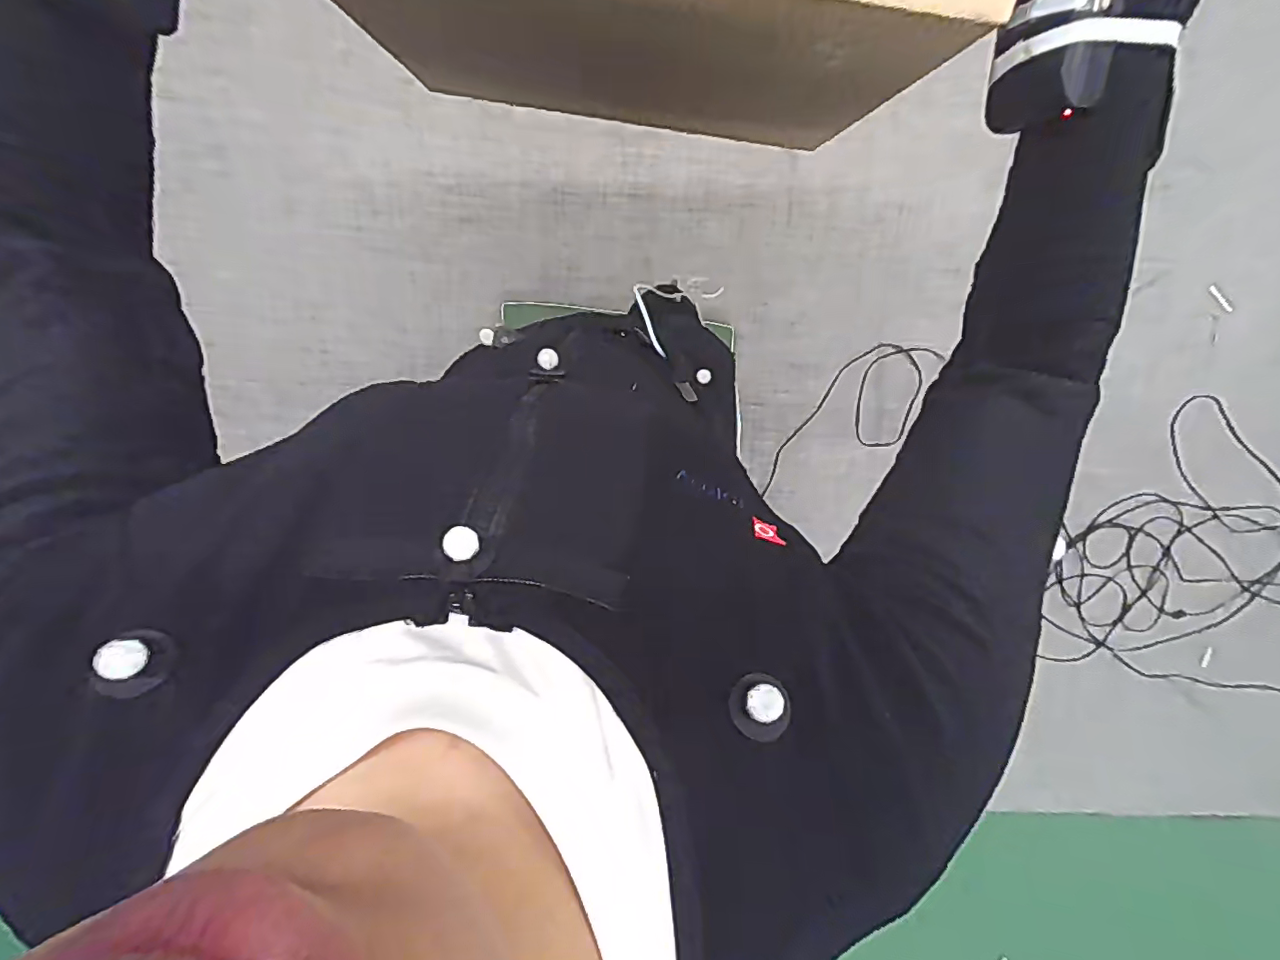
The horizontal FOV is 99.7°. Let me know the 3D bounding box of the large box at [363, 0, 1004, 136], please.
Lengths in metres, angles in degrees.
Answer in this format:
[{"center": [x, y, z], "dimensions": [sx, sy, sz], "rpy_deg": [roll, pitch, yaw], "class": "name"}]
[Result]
[{"center": [0.013, -0.466, 0.363], "dimensions": [0.408, 0.320, 0.320], "rpy_deg": [6, 111, -5], "class": "large box"}]
